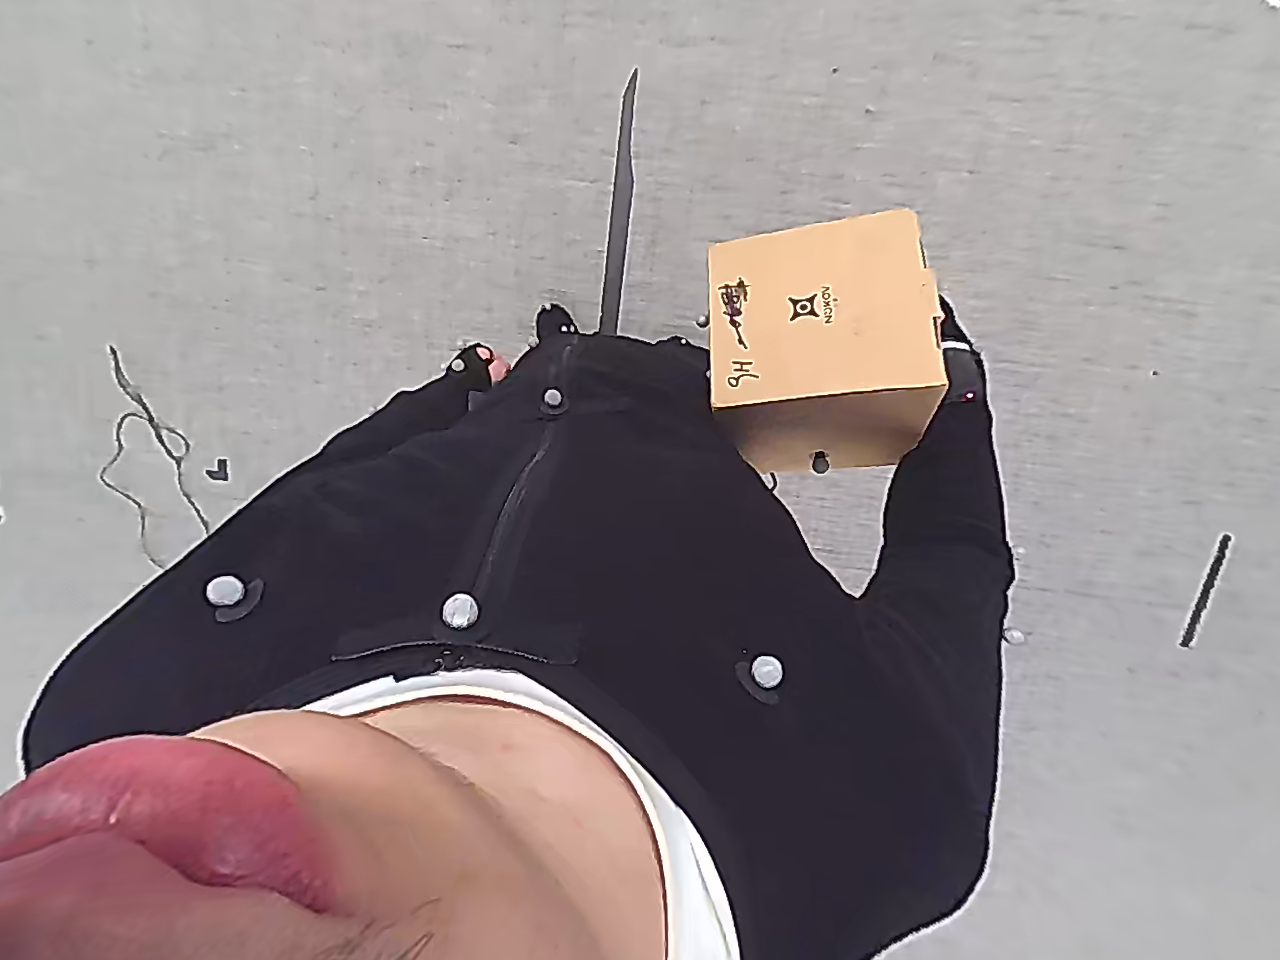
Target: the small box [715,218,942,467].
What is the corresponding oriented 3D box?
[{"bbox_3d":[0.169,-0.119,0.531,0.179,0.176,0.168,-3,70,14],"label":"small box"}]
